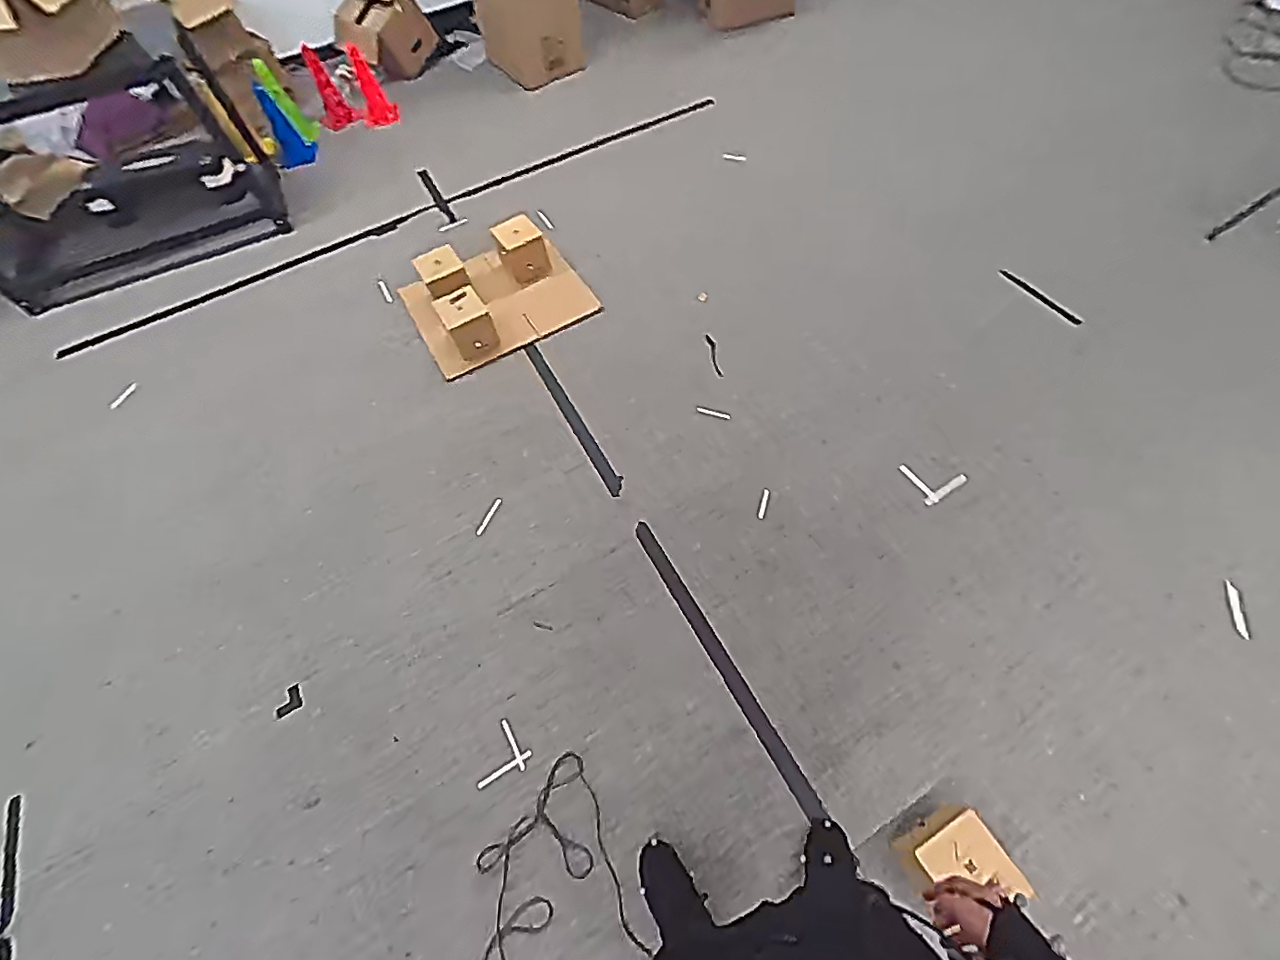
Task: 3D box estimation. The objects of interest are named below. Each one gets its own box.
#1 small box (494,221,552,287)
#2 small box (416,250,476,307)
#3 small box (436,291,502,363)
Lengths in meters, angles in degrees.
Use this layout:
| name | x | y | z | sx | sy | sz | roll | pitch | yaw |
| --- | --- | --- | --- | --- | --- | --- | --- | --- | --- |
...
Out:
| name | x | y | z | sx | sy | sz | roll | pitch | yaw |
| --- | --- | --- | --- | --- | --- | --- | --- | --- | --- |
| small box | -0.501 | -0.969 | 2.324 | 0.168 | 0.176 | 0.179 | -32 | 63 | -14 |
| small box | -0.796 | -0.811 | 2.248 | 0.168 | 0.176 | 0.179 | -30 | 62 | -11 |
| small box | -0.666 | -0.595 | 2.115 | 0.168 | 0.176 | 0.179 | -30 | 63 | -12 |
